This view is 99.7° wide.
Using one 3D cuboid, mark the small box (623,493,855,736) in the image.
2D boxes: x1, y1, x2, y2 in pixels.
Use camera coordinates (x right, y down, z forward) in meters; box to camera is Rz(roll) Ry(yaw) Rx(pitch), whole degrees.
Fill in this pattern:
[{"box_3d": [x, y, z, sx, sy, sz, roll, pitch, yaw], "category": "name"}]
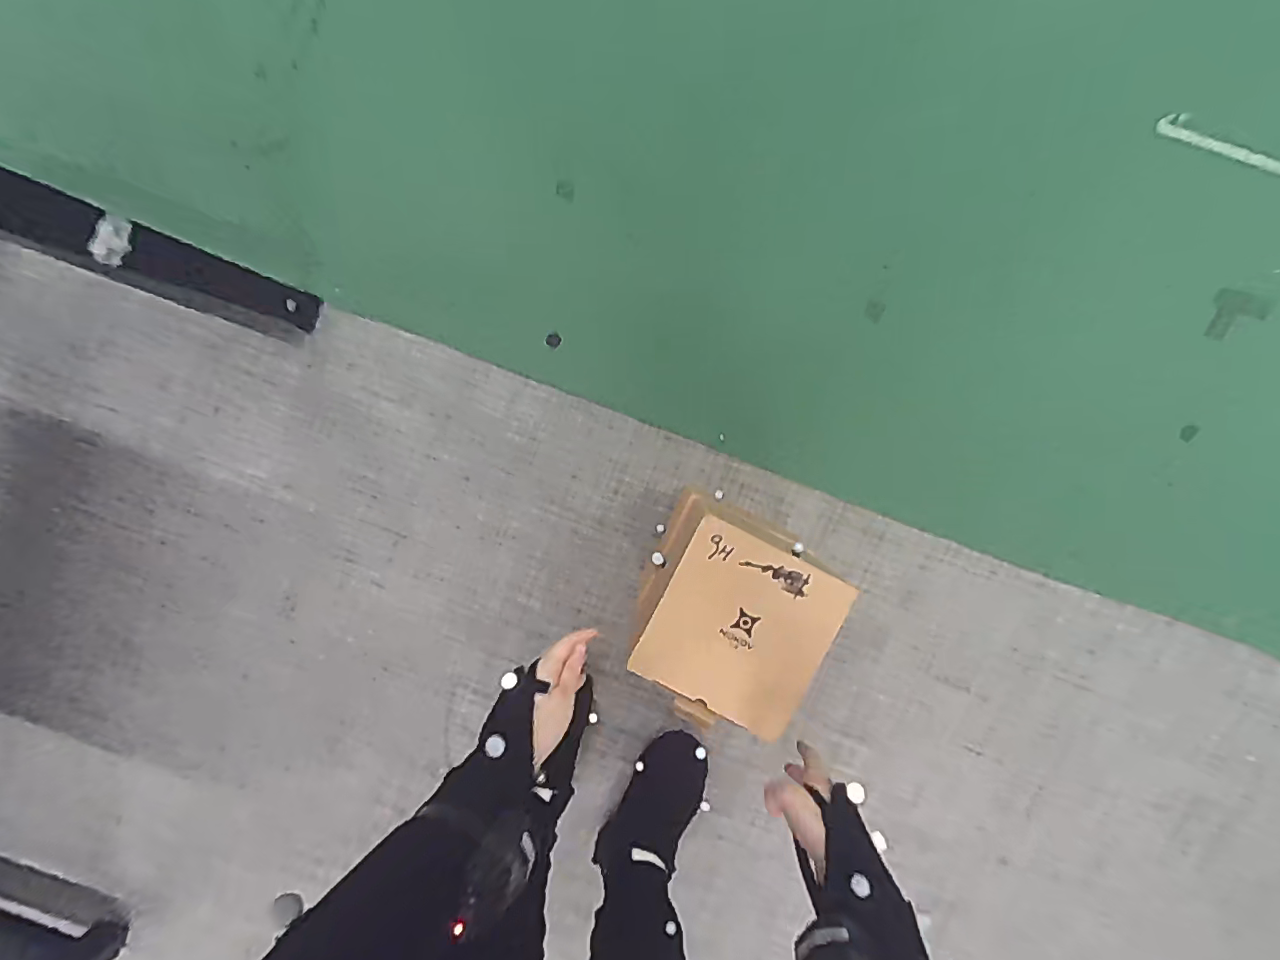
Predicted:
[{"box_3d": [0.098, 0.129, 0.593, 0.168, 0.176, 0.179, 27, 95, 1], "category": "small box"}]
